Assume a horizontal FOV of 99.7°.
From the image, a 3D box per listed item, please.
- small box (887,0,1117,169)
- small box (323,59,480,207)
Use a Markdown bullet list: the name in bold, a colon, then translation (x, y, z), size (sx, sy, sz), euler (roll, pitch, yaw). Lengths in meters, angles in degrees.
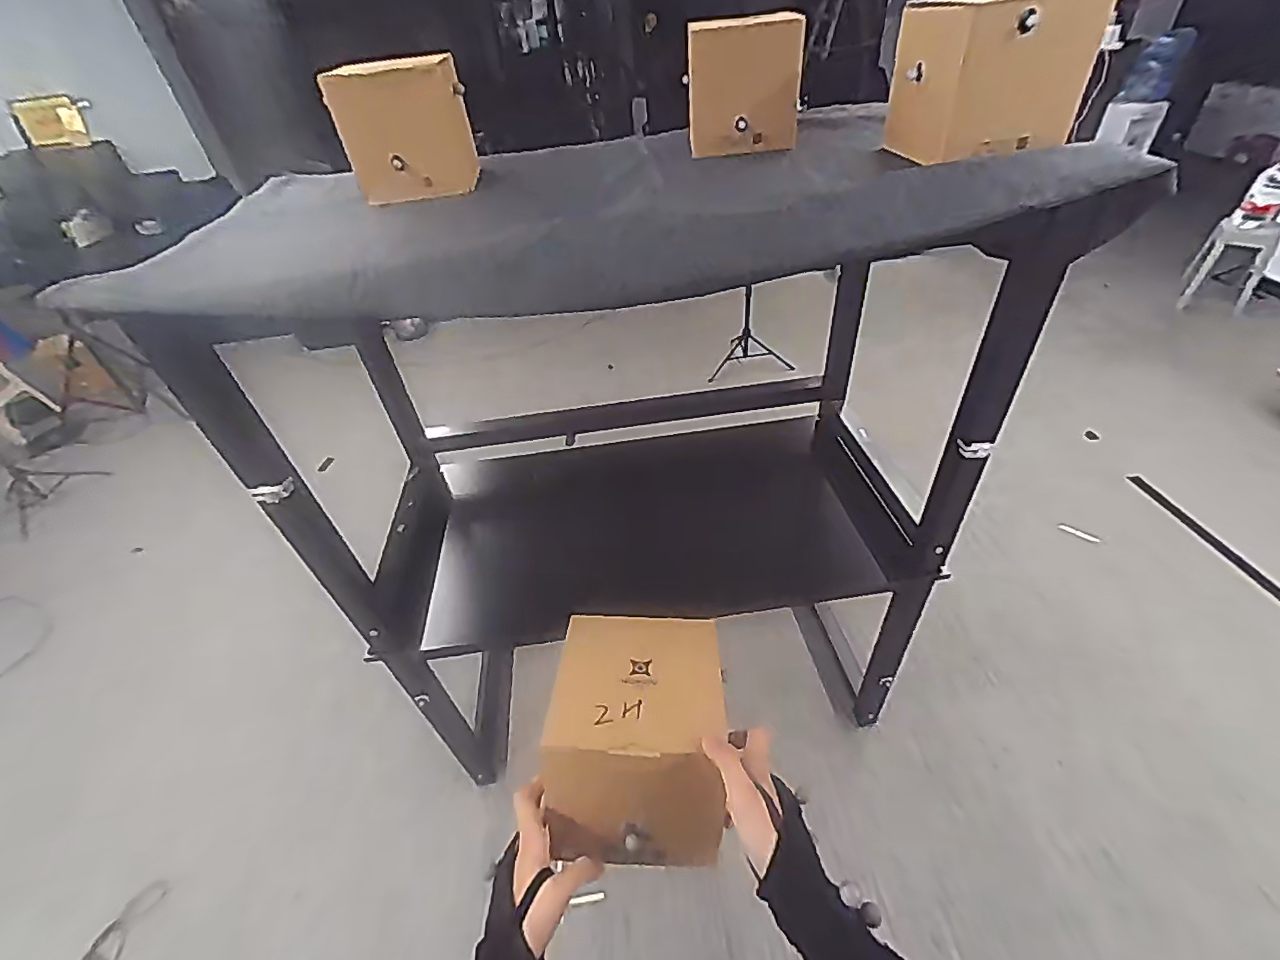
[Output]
- **small box**: translation (0.448, -0.520, 0.707), size (0.168, 0.176, 0.179), euler (-8, 40, 0)
- **small box**: translation (-0.360, -0.550, 0.858), size (0.168, 0.176, 0.179), euler (-9, 42, -3)
